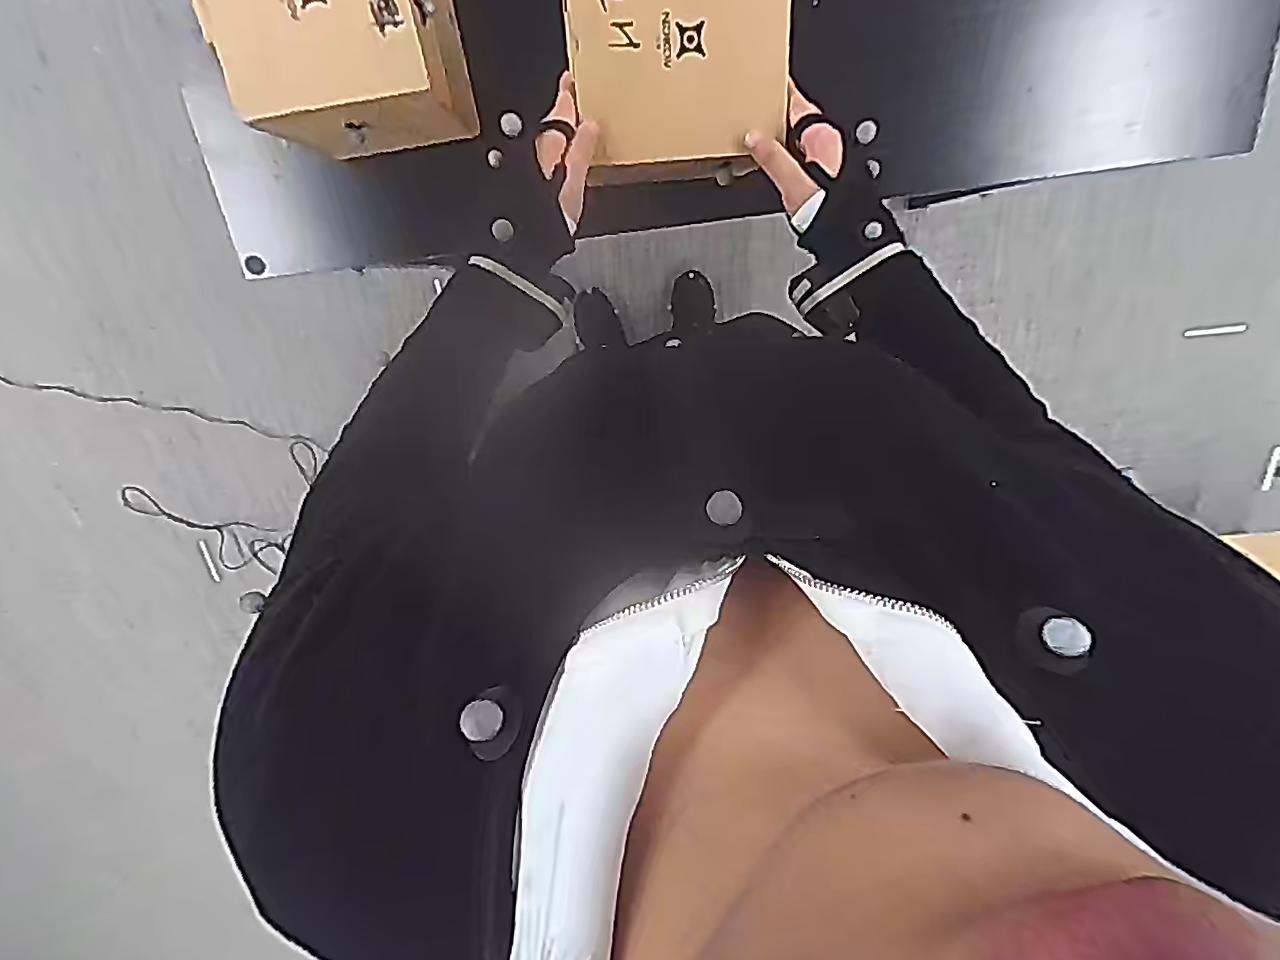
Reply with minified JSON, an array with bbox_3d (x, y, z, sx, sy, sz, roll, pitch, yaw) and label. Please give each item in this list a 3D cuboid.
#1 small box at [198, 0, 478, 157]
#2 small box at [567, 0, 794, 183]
[{"bbox_3d":[-0.280,-0.430,0.520,0.179,0.176,0.168,-8,111,3],"label":"small box"},{"bbox_3d":[0.028,-0.375,0.493,0.179,0.176,0.168,-4,114,-1],"label":"small box"}]
